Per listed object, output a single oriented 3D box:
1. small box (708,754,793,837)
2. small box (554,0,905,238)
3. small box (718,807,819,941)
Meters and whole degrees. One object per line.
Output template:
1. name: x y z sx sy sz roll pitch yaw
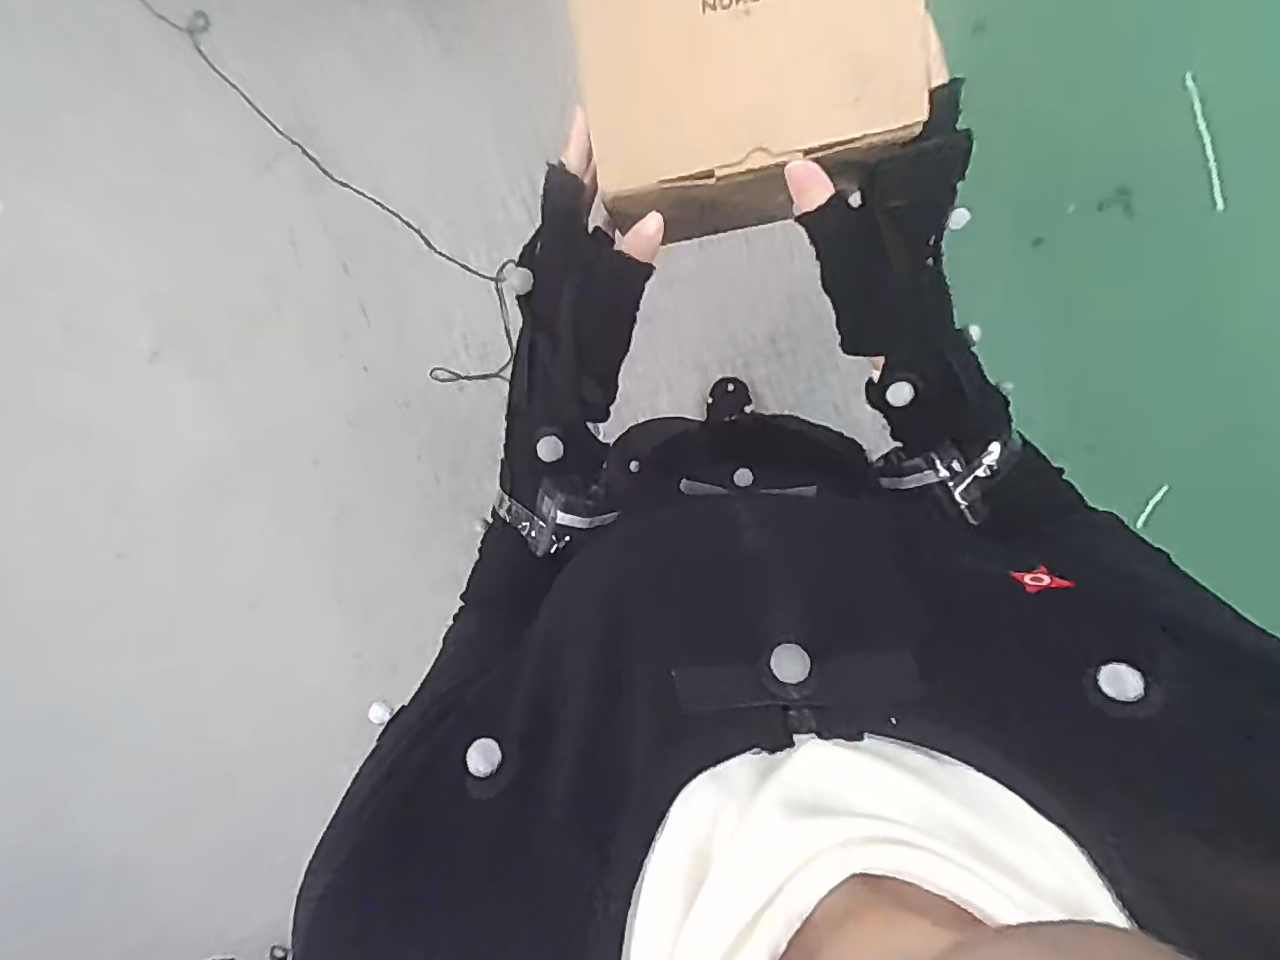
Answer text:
1. small box: 0.289 0.861 1.416 0.179 0.176 0.168 -24 96 9
2. small box: 0.046 -0.264 0.338 0.168 0.176 0.179 -9 102 7
3. small box: 0.290 0.900 1.257 0.168 0.176 0.179 -23 96 7
